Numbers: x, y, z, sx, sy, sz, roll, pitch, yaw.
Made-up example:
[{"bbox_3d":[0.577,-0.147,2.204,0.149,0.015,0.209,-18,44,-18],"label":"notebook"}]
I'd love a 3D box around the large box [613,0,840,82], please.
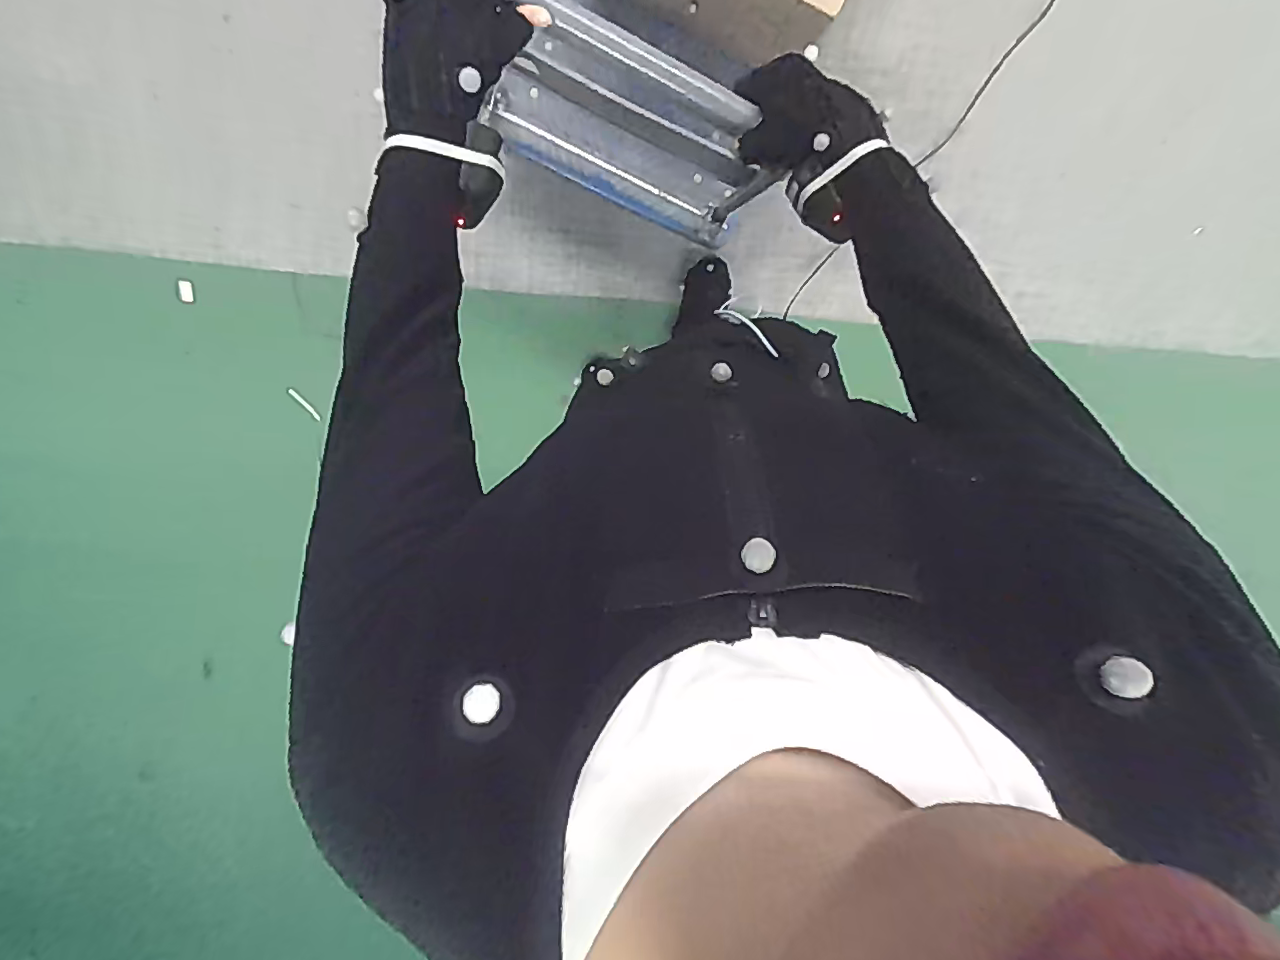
[{"bbox_3d":[0.150,-0.908,0.835,0.408,0.320,0.320,22,110,-7],"label":"large box"}]
